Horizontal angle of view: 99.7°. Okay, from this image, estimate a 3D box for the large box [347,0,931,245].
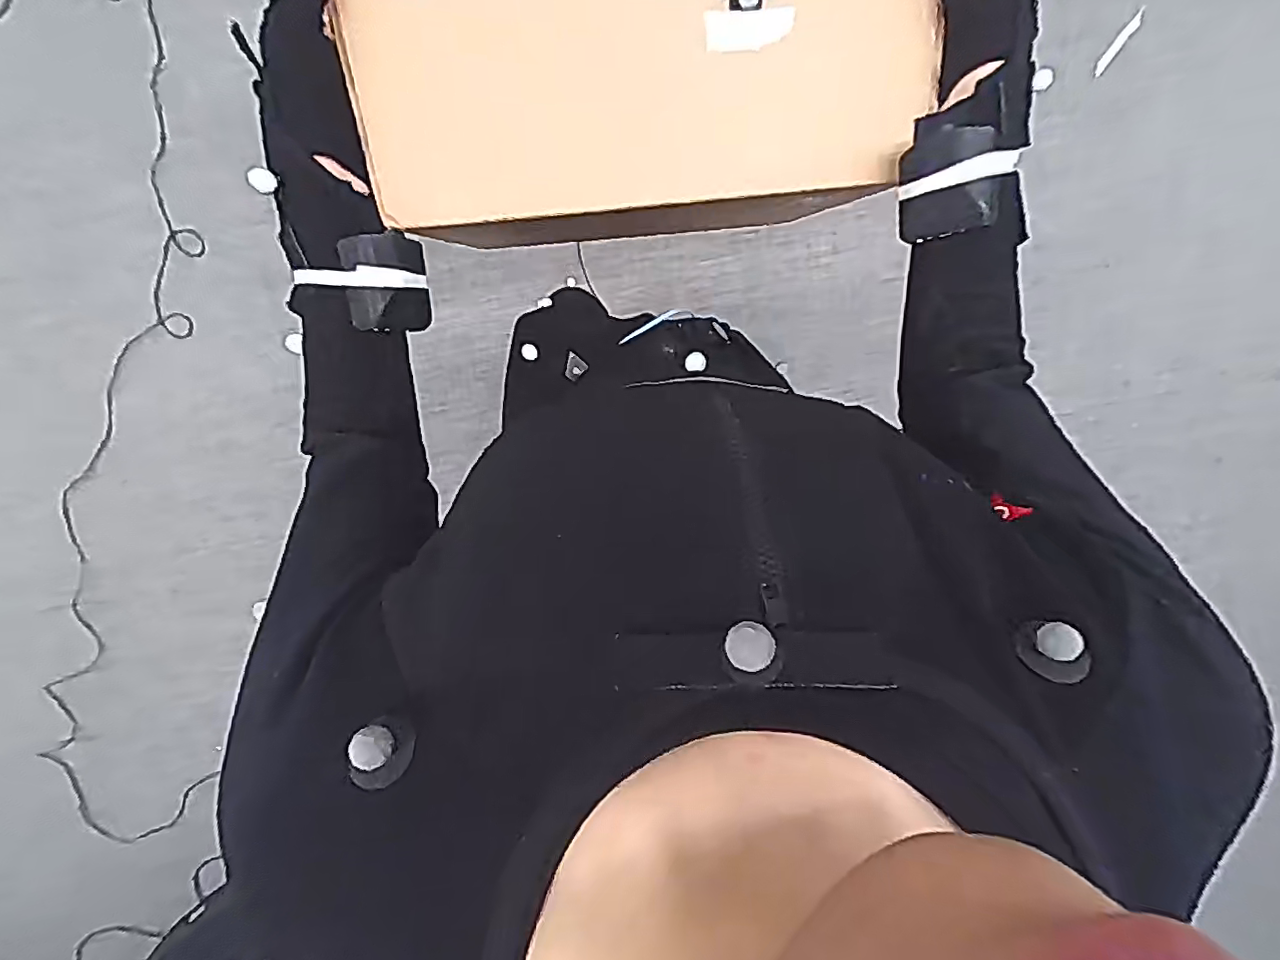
[{"bbox_3d":[-0.011,-0.409,0.491,0.408,0.320,0.320,-7,112,-3],"label":"large box"}]
